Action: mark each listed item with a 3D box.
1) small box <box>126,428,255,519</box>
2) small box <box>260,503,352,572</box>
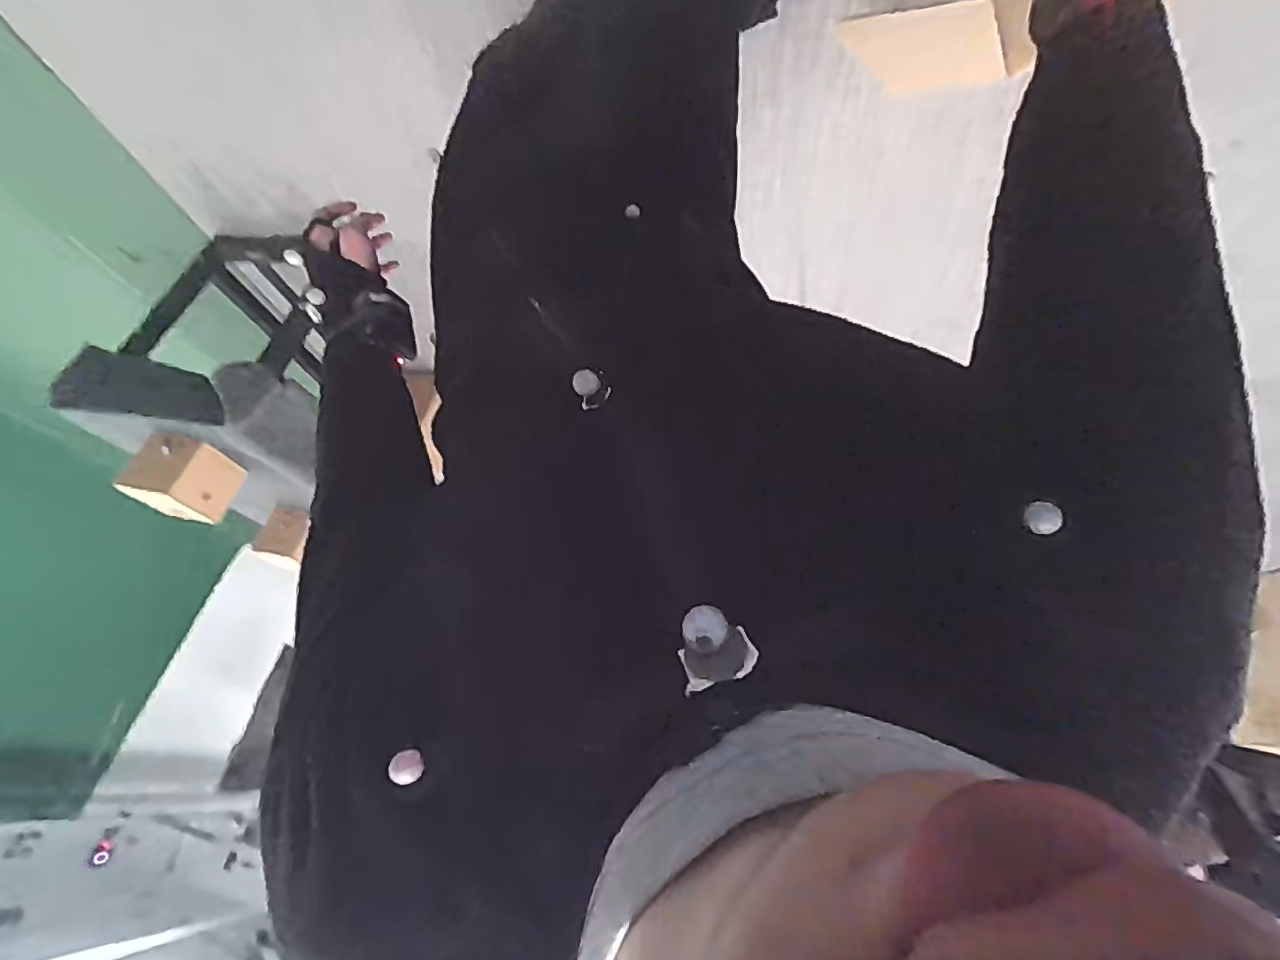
[{"bbox_3d":[-1.217,-0.017,1.483,0.168,0.176,0.179,10,152,8],"label":"small box"},{"bbox_3d":[-1.134,0.194,1.850,0.168,0.176,0.179,8,152,12],"label":"small box"}]
